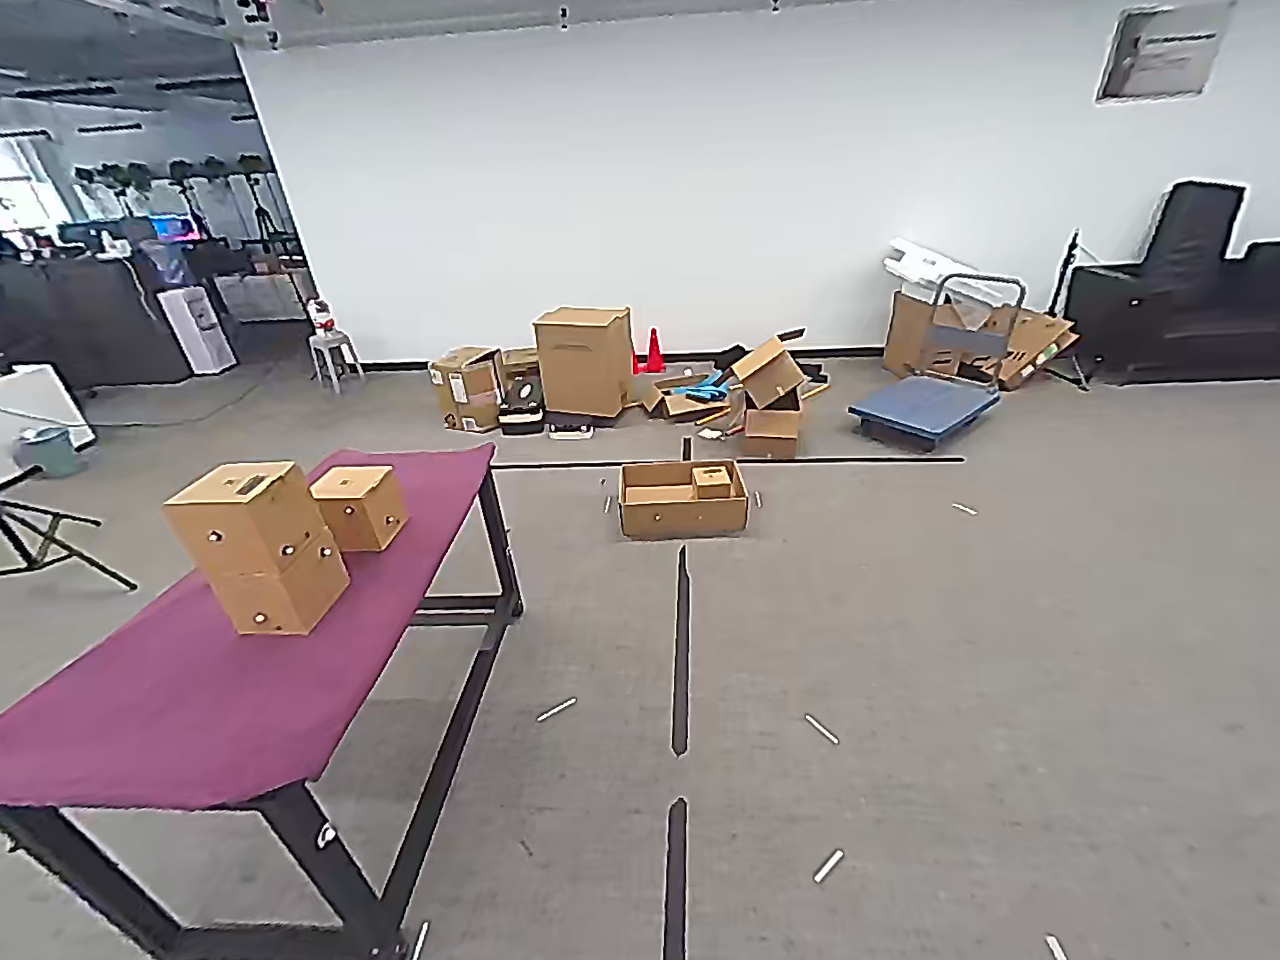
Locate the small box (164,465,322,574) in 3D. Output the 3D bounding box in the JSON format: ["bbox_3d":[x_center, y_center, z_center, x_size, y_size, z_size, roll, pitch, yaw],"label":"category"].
[{"bbox_3d":[-0.805,0.082,1.121,0.179,0.176,0.168,-2,29,4],"label":"small box"}]

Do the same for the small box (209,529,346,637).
[{"bbox_3d":[-0.787,0.224,1.202,0.168,0.176,0.179,-1,30,6],"label":"small box"}]

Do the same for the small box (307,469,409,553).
[{"bbox_3d":[-0.754,0.083,1.444,0.179,0.176,0.168,-1,30,6],"label":"small box"}]
